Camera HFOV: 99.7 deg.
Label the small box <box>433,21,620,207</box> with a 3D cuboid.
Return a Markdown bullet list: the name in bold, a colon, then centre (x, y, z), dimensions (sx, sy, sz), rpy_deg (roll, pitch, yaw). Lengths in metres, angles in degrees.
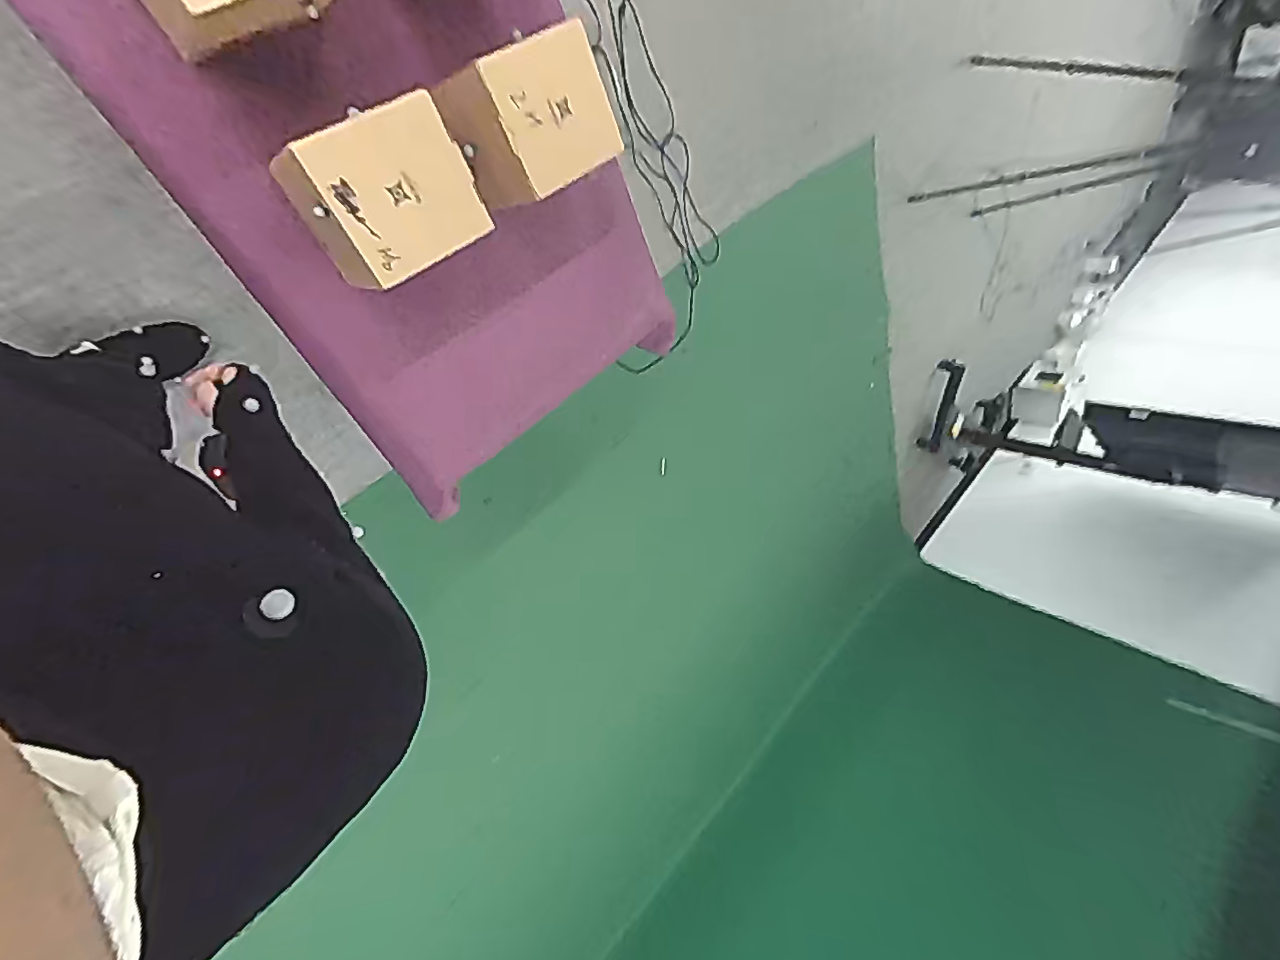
- **small box**: centre (-0.165, -0.520, 0.788), dimensions (0.179, 0.176, 0.168), rpy_deg (-41, 128, -20)

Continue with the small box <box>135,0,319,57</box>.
- **small box**: centre (-0.441, -0.564, 0.539), dimensions (0.179, 0.176, 0.168), rpy_deg (-42, 128, -20)

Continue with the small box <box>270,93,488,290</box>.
- **small box**: centre (-0.339, -0.366, 0.702), dimensions (0.179, 0.176, 0.168), rpy_deg (-41, 128, -22)
